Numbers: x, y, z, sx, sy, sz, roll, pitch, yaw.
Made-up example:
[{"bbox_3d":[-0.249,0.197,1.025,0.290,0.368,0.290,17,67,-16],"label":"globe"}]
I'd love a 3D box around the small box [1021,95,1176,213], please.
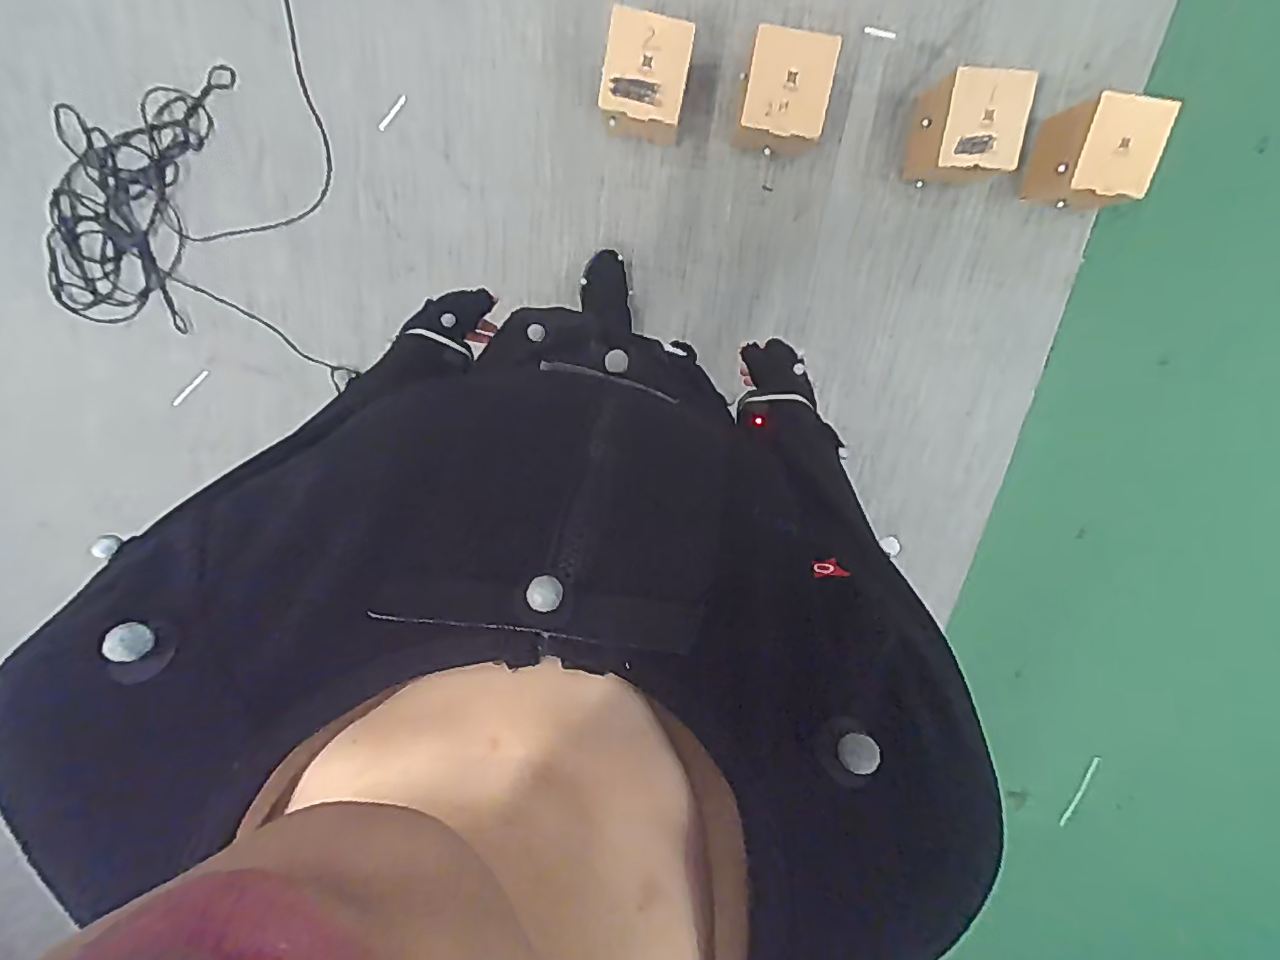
[{"bbox_3d":[0.985,-0.702,1.182,0.168,0.176,0.179,7,108,-2],"label":"small box"}]

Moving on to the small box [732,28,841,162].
[{"bbox_3d":[0.298,-0.803,1.145,0.168,0.176,0.179,9,109,-2],"label":"small box"}]

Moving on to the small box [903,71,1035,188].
[{"bbox_3d":[0.696,-0.744,1.167,0.168,0.176,0.179,3,107,-1],"label":"small box"}]
